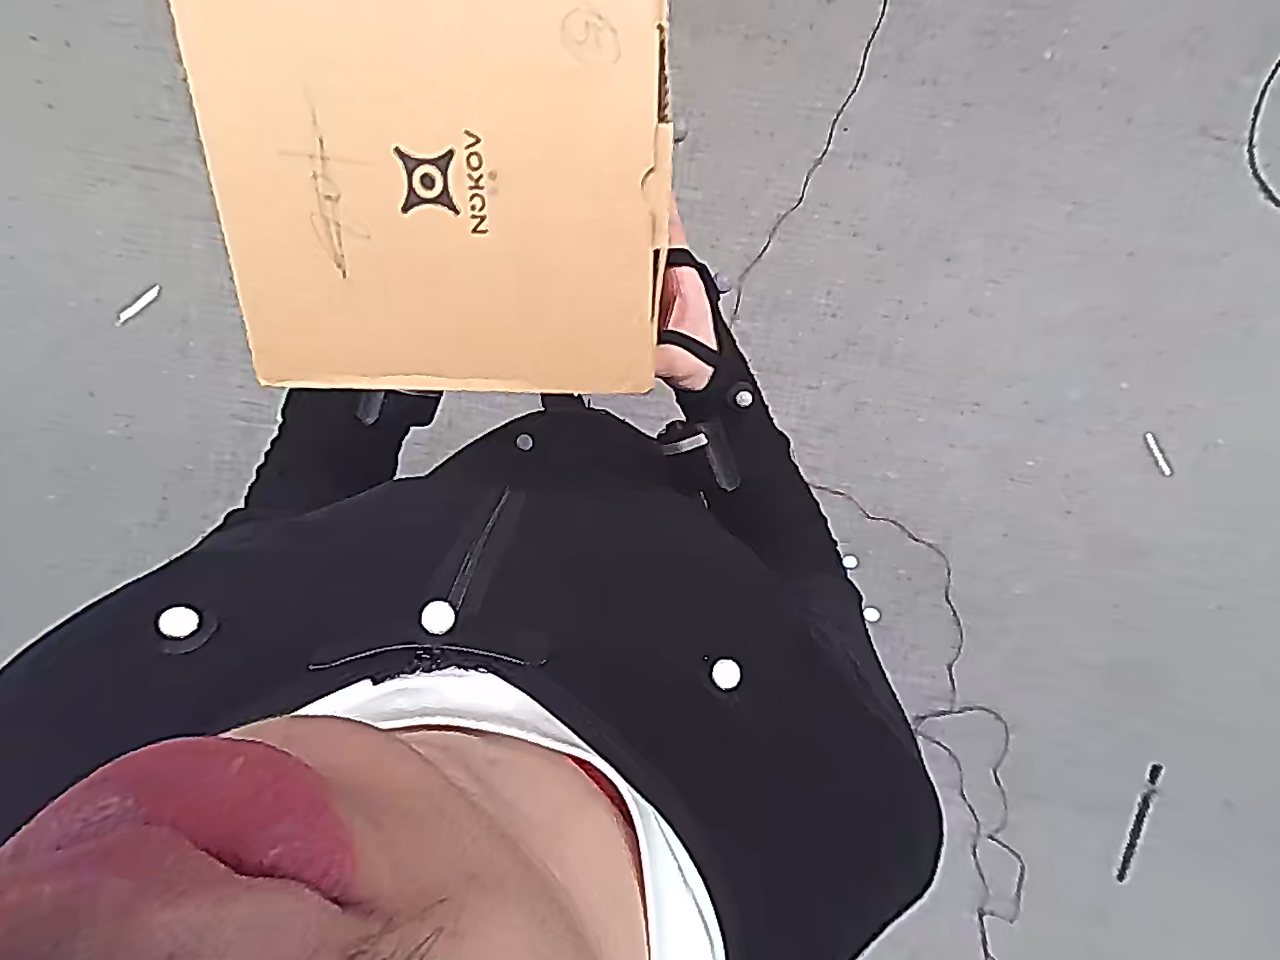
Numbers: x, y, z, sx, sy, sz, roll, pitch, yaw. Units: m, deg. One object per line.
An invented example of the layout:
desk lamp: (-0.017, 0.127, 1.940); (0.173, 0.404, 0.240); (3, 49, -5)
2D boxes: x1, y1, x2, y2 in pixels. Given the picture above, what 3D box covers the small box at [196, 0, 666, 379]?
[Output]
small box: (-0.082, -0.153, 0.297); (0.179, 0.176, 0.168); (0, 110, -2)
